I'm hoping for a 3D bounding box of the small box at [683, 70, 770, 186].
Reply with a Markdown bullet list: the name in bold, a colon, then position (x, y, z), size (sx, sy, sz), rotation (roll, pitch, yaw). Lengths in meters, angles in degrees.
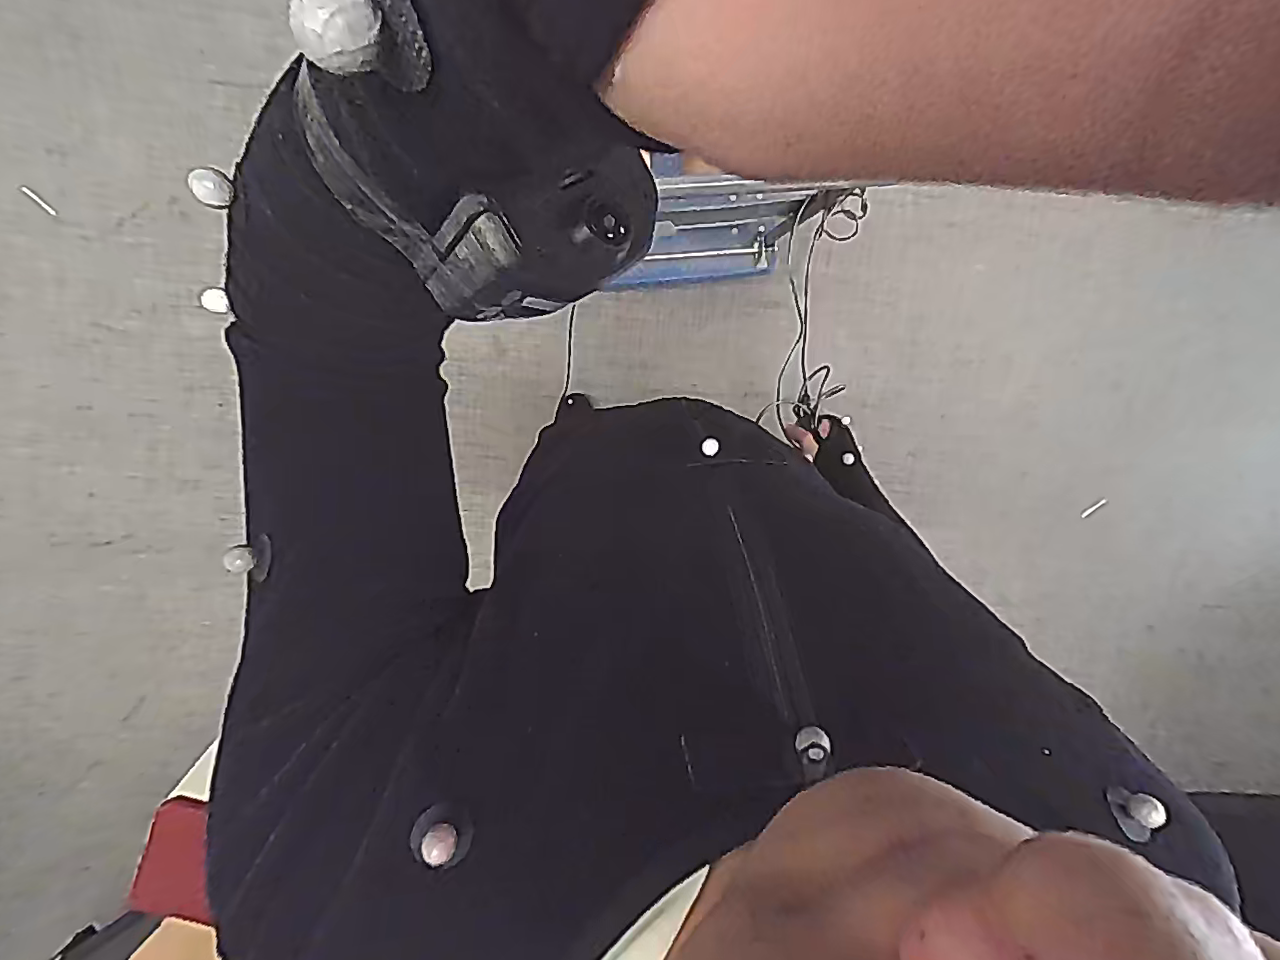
- **small box**: position (0.195, -0.807, 1.252), size (0.168, 0.176, 0.179), rotation (-4, 100, -3)
